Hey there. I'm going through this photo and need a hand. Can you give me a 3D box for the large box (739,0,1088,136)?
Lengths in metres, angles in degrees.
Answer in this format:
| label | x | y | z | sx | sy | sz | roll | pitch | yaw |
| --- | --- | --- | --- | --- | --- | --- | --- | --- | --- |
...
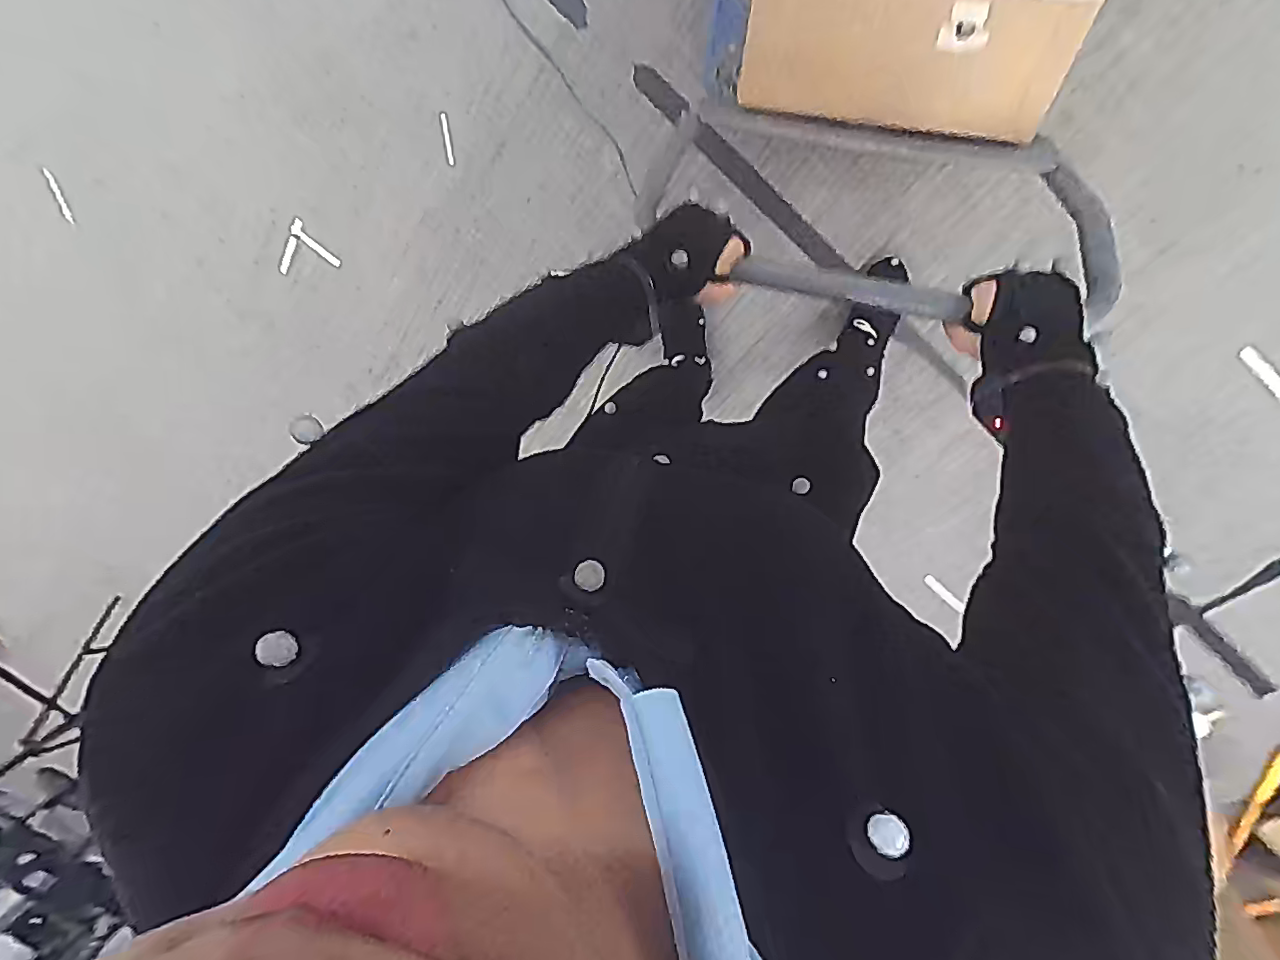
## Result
| label | x | y | z | sx | sy | sz | roll | pitch | yaw |
| --- | --- | --- | --- | --- | --- | --- | --- | --- | --- |
| large box | 0.380 | -0.719 | 0.770 | 0.408 | 0.320 | 0.320 | 13 | 135 | 7 |
